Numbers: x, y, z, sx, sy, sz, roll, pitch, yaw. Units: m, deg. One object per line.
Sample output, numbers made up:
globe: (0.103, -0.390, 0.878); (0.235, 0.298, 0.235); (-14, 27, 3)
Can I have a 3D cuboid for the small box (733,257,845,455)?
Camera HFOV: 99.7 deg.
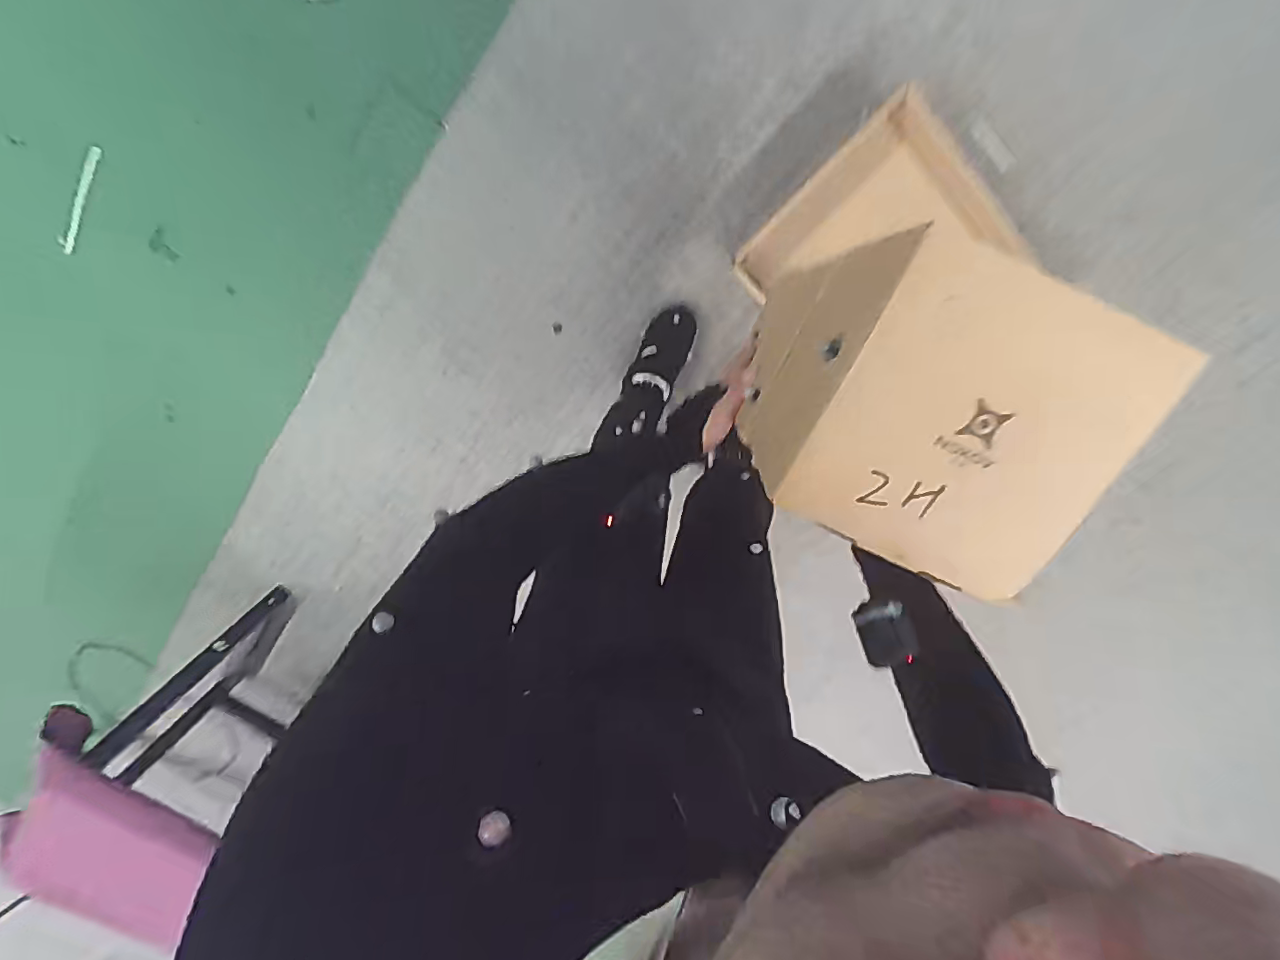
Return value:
small box: (0.200, -0.096, 0.532); (0.168, 0.176, 0.179); (24, 109, -2)
